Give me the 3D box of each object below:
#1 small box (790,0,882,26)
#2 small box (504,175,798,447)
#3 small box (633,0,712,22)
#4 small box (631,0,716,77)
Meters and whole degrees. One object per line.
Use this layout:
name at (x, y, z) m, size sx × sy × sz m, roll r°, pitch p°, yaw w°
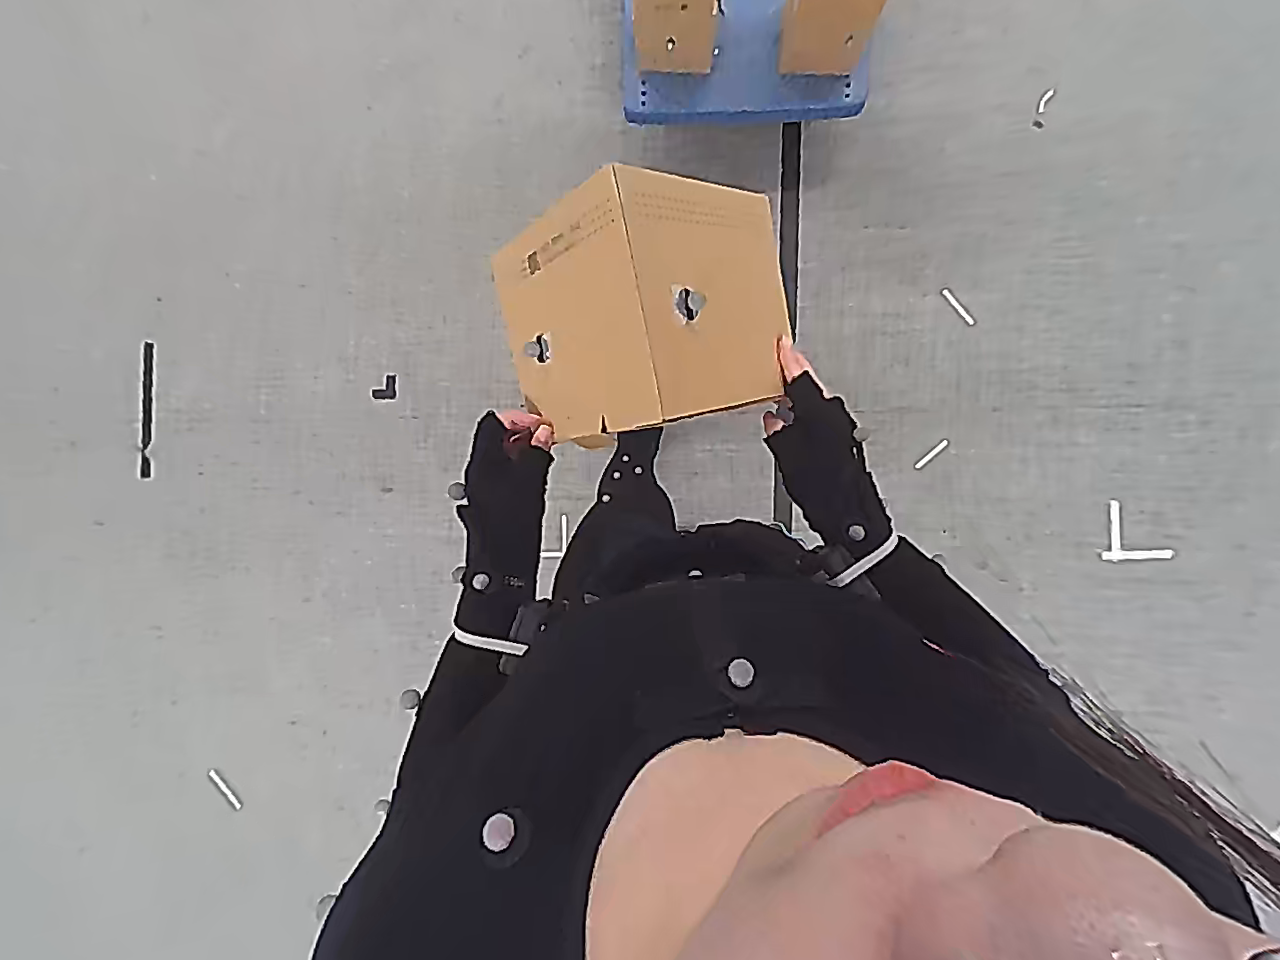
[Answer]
small box at (0.394, -1.013, 1.027) m, size 0.179 × 0.176 × 0.168 m, roll 6°, pitch 91°, yaw 2°
small box at (0.007, -0.133, 0.464) m, size 0.168 × 0.179 × 0.176 m, roll -5°, pitch 100°, yaw 48°
small box at (0.064, -1.042, 1.044) m, size 0.168 × 0.176 × 0.179 m, roll 2°, pitch 90°, yaw 4°
small box at (0.079, -1.042, 1.208) m, size 0.179 × 0.176 × 0.168 m, roll 5°, pitch 91°, yaw 4°
